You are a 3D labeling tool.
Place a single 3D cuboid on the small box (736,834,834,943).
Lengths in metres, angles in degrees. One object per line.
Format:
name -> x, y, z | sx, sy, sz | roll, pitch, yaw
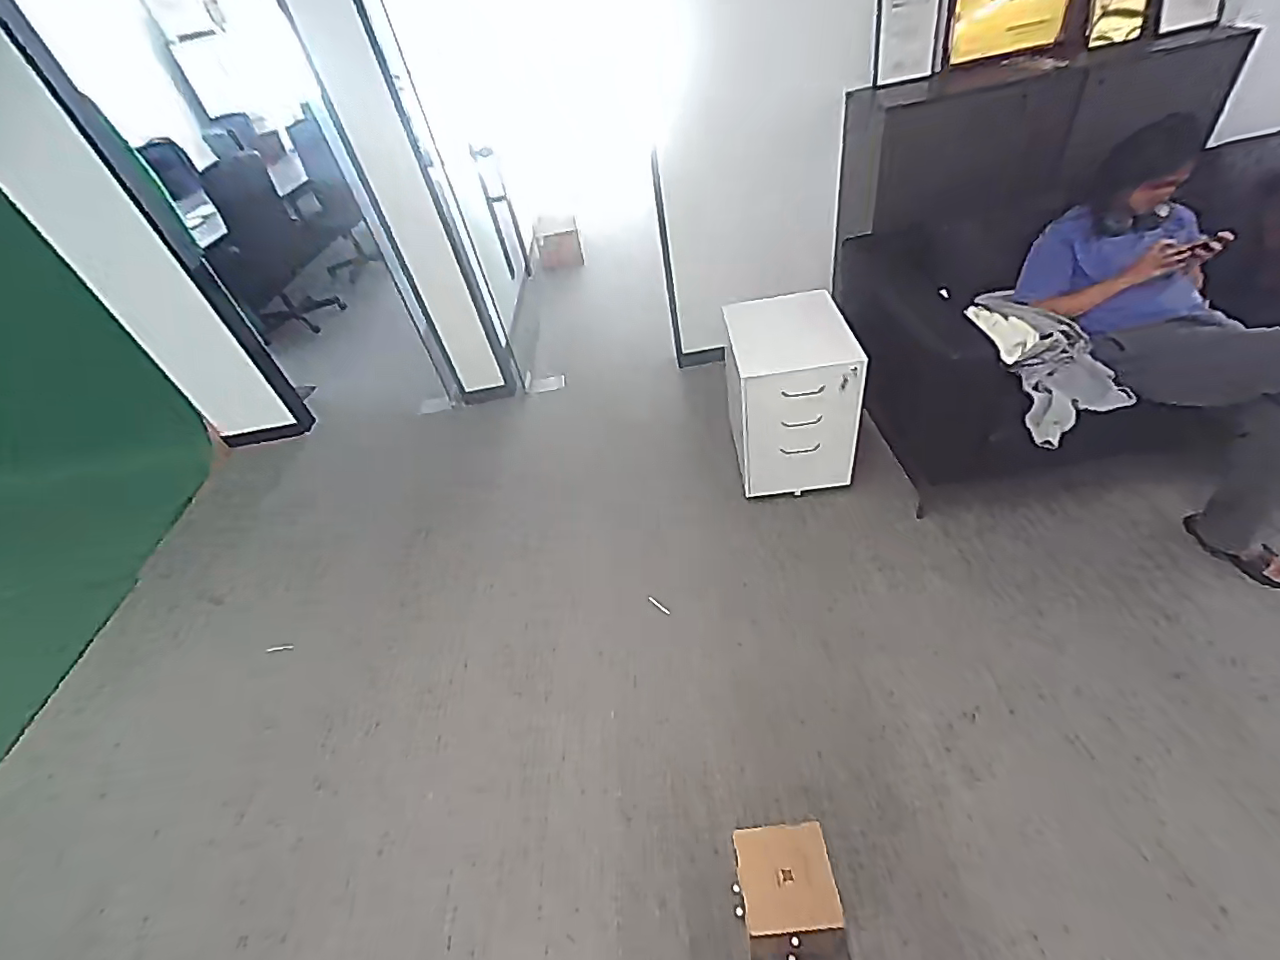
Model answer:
small box -> 0.310, 0.901, 1.192 | 0.179, 0.176, 0.168 | -7, 43, 4
